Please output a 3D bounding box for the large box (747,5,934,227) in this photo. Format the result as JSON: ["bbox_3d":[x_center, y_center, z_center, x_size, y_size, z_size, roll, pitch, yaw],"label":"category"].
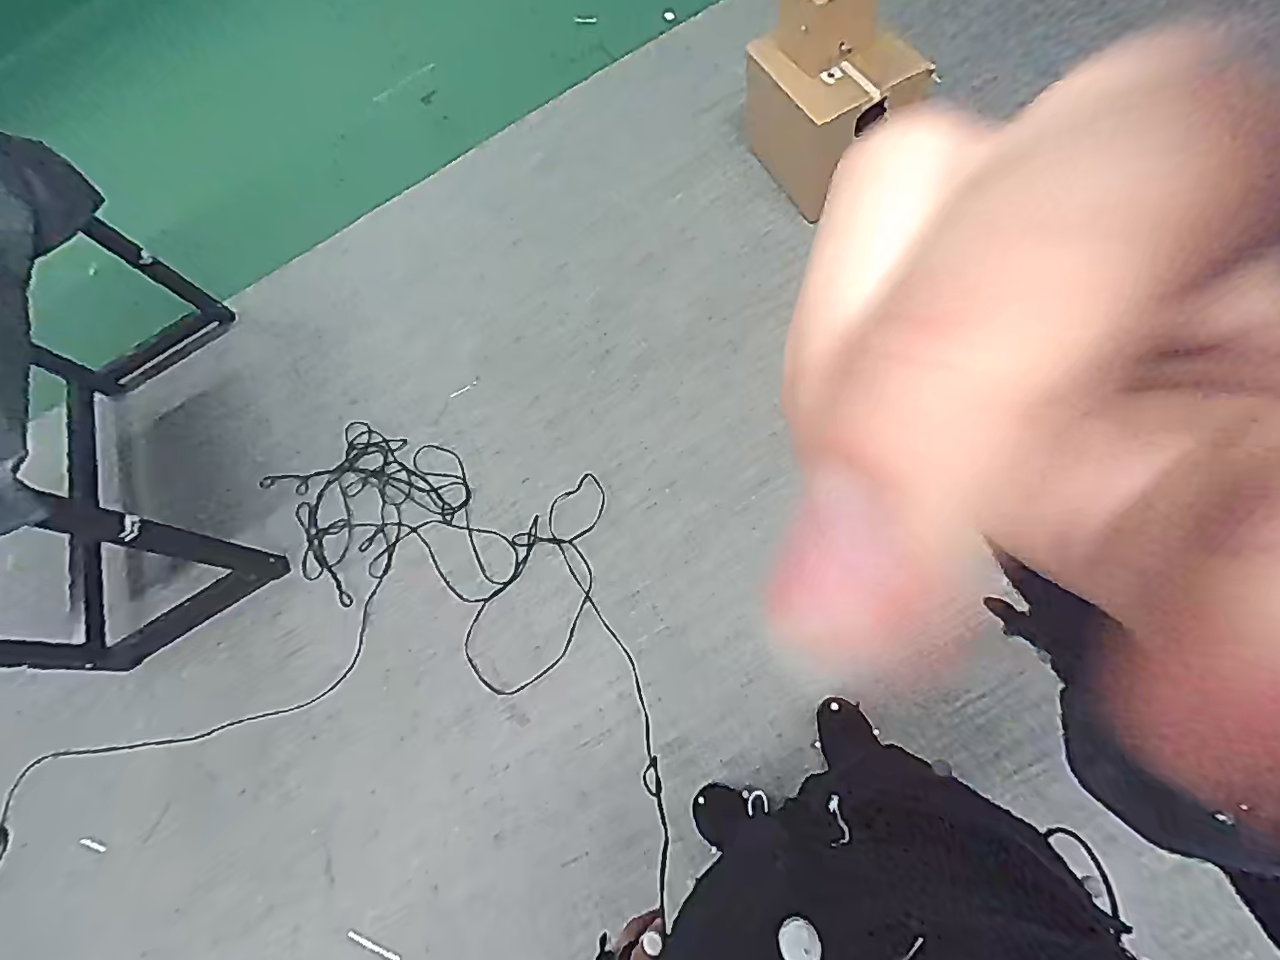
[{"bbox_3d":[0.539,-1.027,1.546,0.320,0.320,0.408,-27,66,3],"label":"large box"}]
